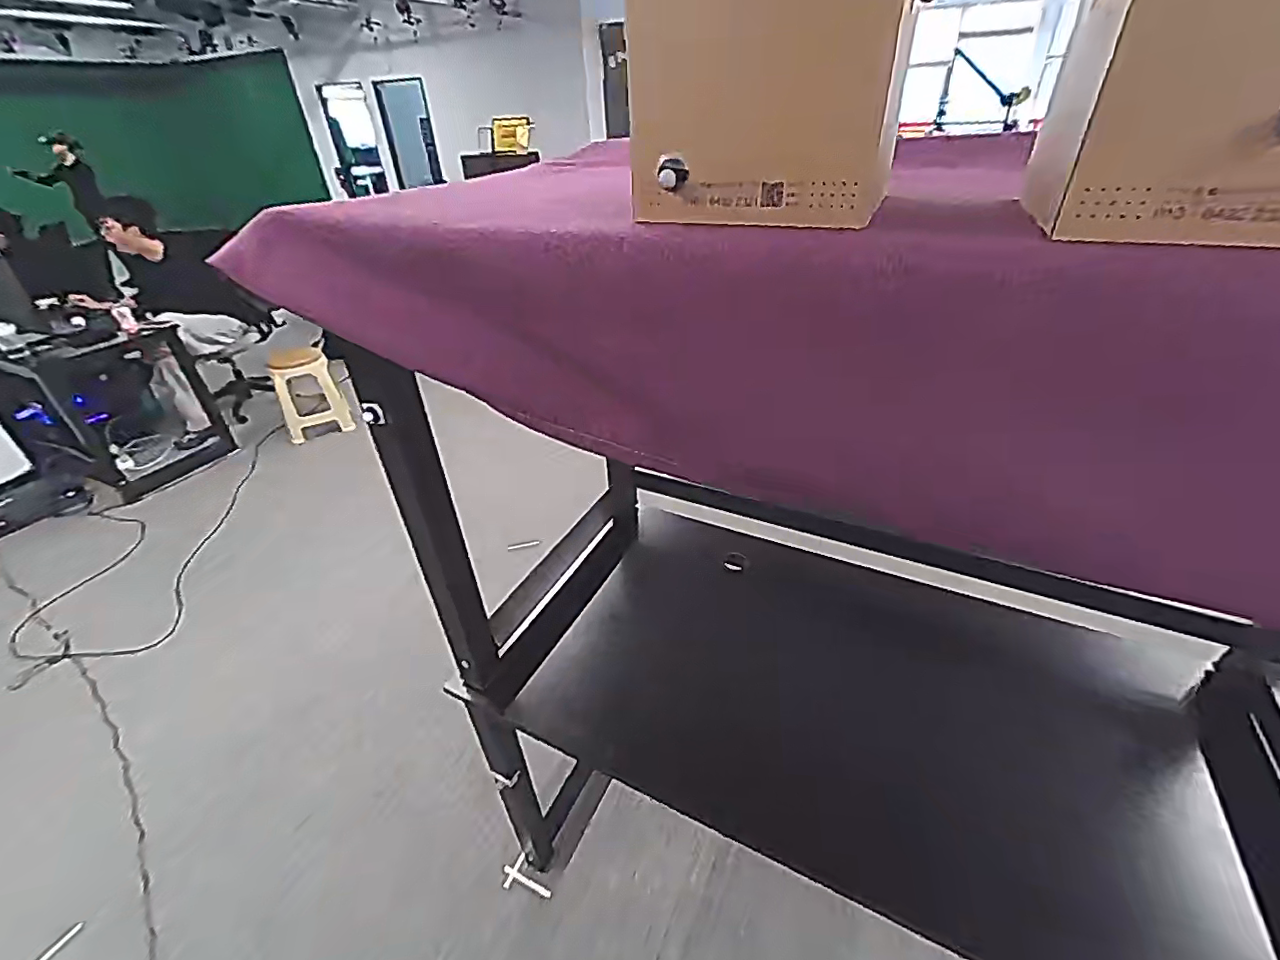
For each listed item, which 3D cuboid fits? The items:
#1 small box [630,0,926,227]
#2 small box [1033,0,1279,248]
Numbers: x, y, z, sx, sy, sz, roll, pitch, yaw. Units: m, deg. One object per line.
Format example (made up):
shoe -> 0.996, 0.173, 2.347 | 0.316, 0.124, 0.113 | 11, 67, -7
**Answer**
small box -> 0.104, -0.285, 0.388 | 0.168, 0.176, 0.179 | 13, 36, 21
small box -> 0.334, -0.226, 0.282 | 0.168, 0.176, 0.179 | 13, 37, 22
